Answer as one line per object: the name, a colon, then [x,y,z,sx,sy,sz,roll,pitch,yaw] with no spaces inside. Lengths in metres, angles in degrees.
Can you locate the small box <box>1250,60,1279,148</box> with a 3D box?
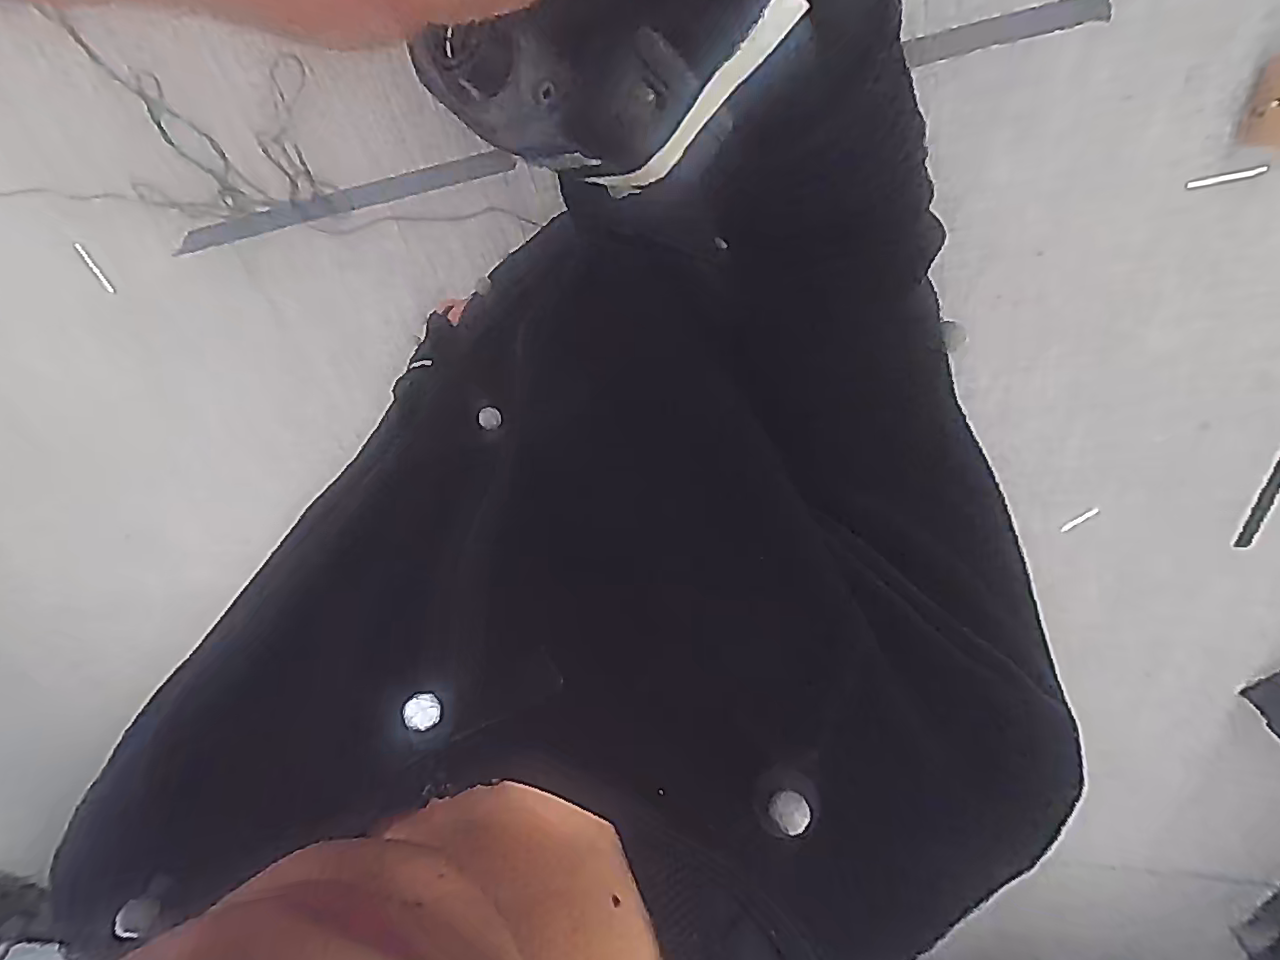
small box: [1.386,-0.766,1.056,0.179,0.176,0.168,-11,124,14]
